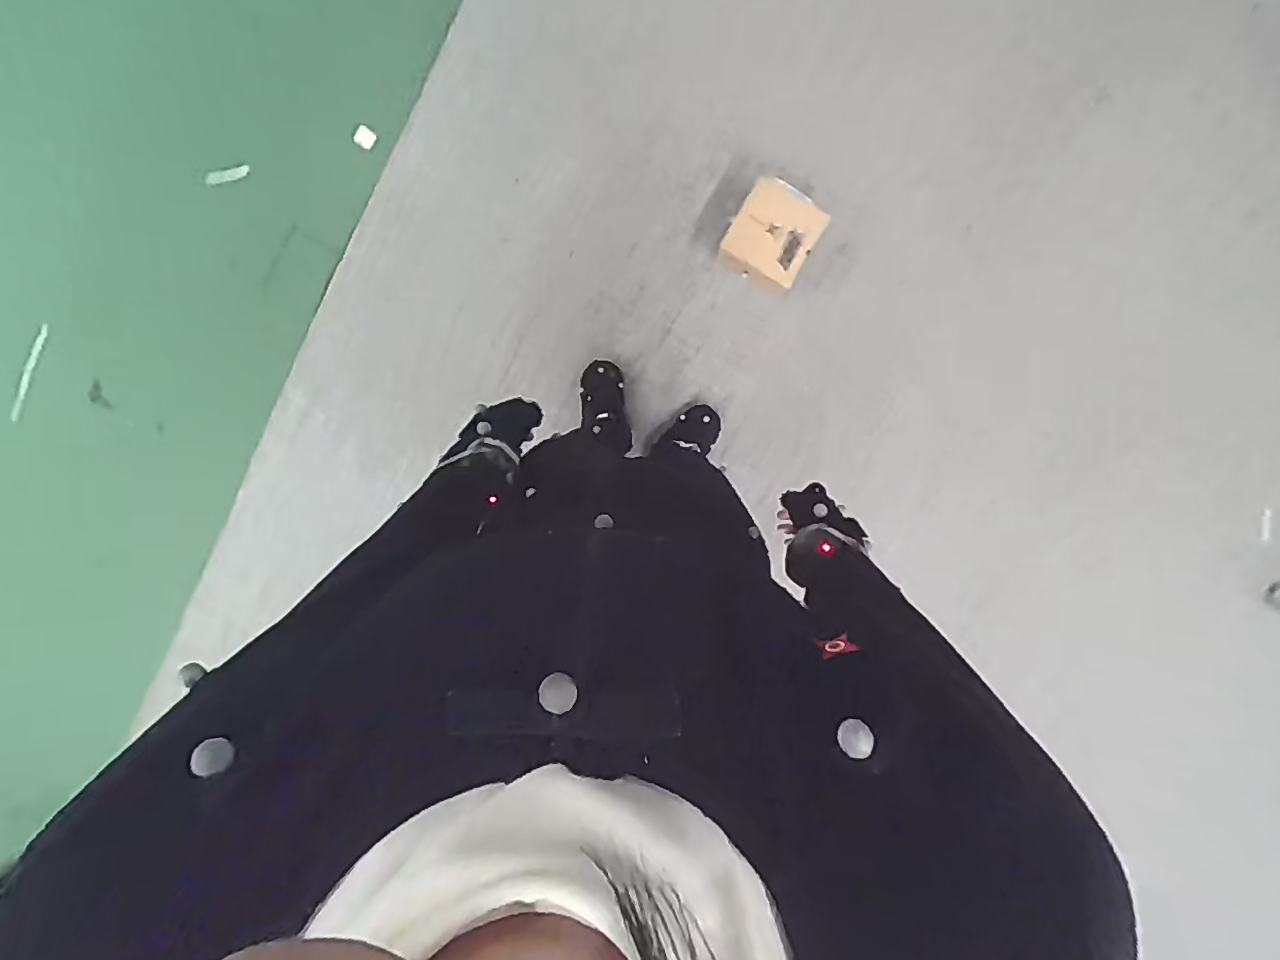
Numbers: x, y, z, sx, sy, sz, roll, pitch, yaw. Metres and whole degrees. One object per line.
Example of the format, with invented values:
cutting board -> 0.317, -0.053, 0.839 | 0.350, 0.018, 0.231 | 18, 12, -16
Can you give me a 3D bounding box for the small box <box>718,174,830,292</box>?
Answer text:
small box -> 0.292, -0.543, 1.218 | 0.179, 0.176, 0.168 | 32, 103, -1
